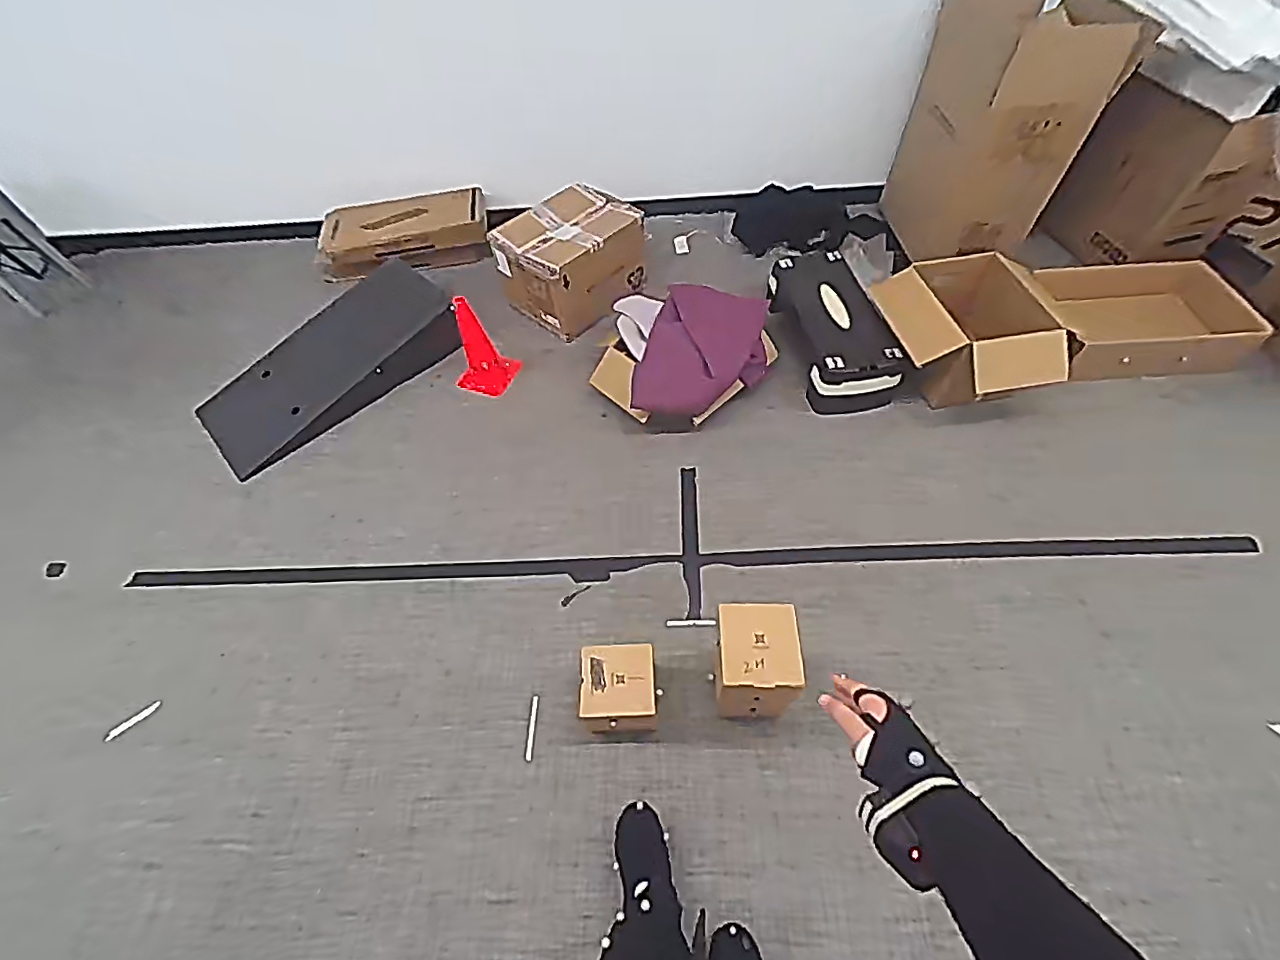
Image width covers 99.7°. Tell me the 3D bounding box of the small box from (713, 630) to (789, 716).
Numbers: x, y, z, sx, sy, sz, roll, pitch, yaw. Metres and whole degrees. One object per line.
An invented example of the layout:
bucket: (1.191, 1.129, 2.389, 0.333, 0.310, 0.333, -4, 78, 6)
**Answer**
small box: (0.269, 0.480, 1.341, 0.168, 0.176, 0.179, -2, 56, 3)

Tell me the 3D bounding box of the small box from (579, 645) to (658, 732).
small box: (-0.050, 0.519, 1.337, 0.179, 0.176, 0.168, -3, 55, 2)

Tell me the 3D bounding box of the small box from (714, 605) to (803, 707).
small box: (0.255, 0.391, 1.201, 0.168, 0.176, 0.179, -1, 56, 4)
